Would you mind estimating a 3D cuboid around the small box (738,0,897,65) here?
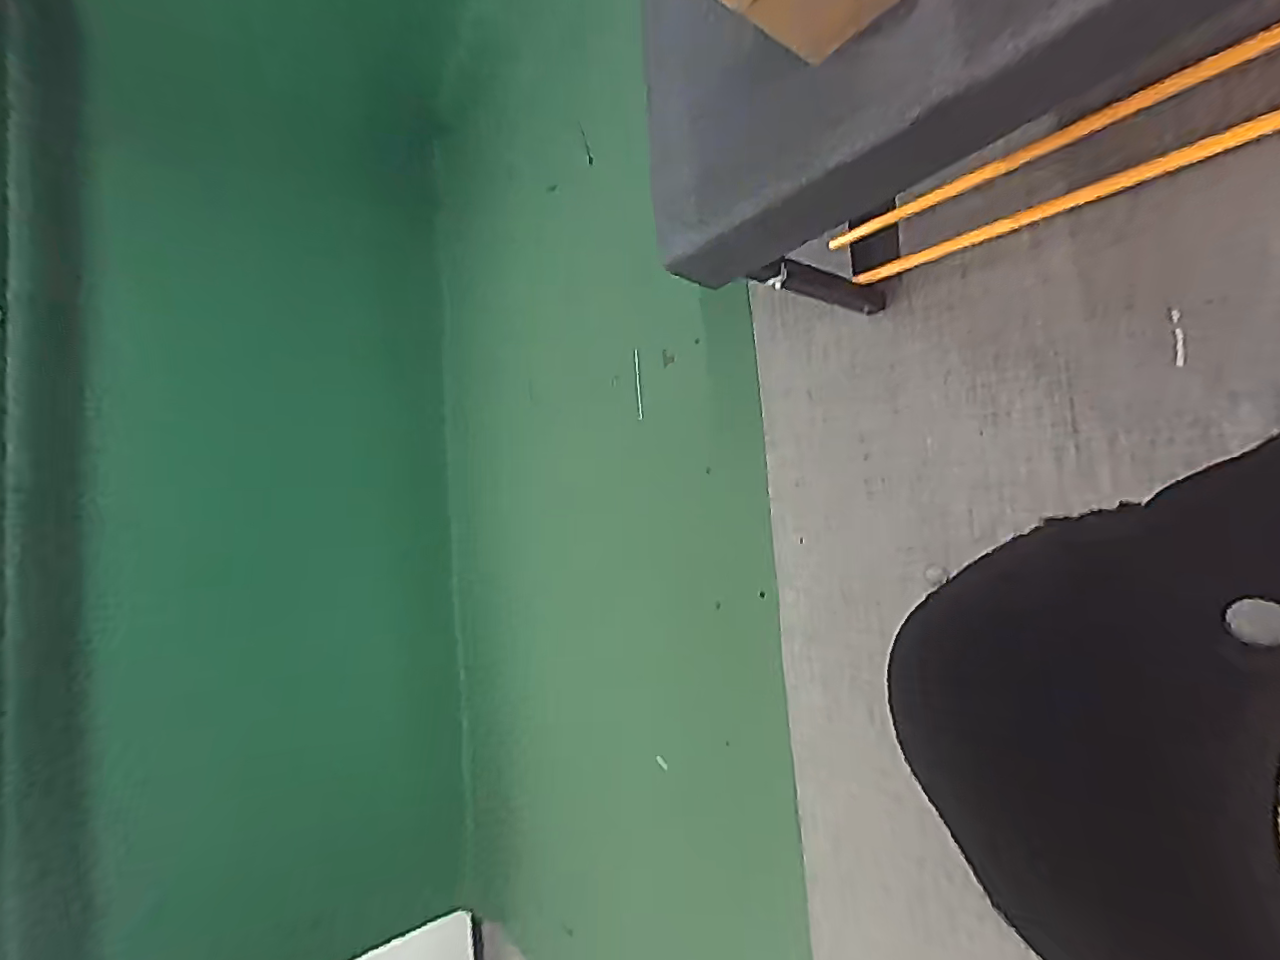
[{"bbox_3d":[0.235,-0.681,0.671,0.179,0.176,0.168,-10,81,53],"label":"small box"}]
